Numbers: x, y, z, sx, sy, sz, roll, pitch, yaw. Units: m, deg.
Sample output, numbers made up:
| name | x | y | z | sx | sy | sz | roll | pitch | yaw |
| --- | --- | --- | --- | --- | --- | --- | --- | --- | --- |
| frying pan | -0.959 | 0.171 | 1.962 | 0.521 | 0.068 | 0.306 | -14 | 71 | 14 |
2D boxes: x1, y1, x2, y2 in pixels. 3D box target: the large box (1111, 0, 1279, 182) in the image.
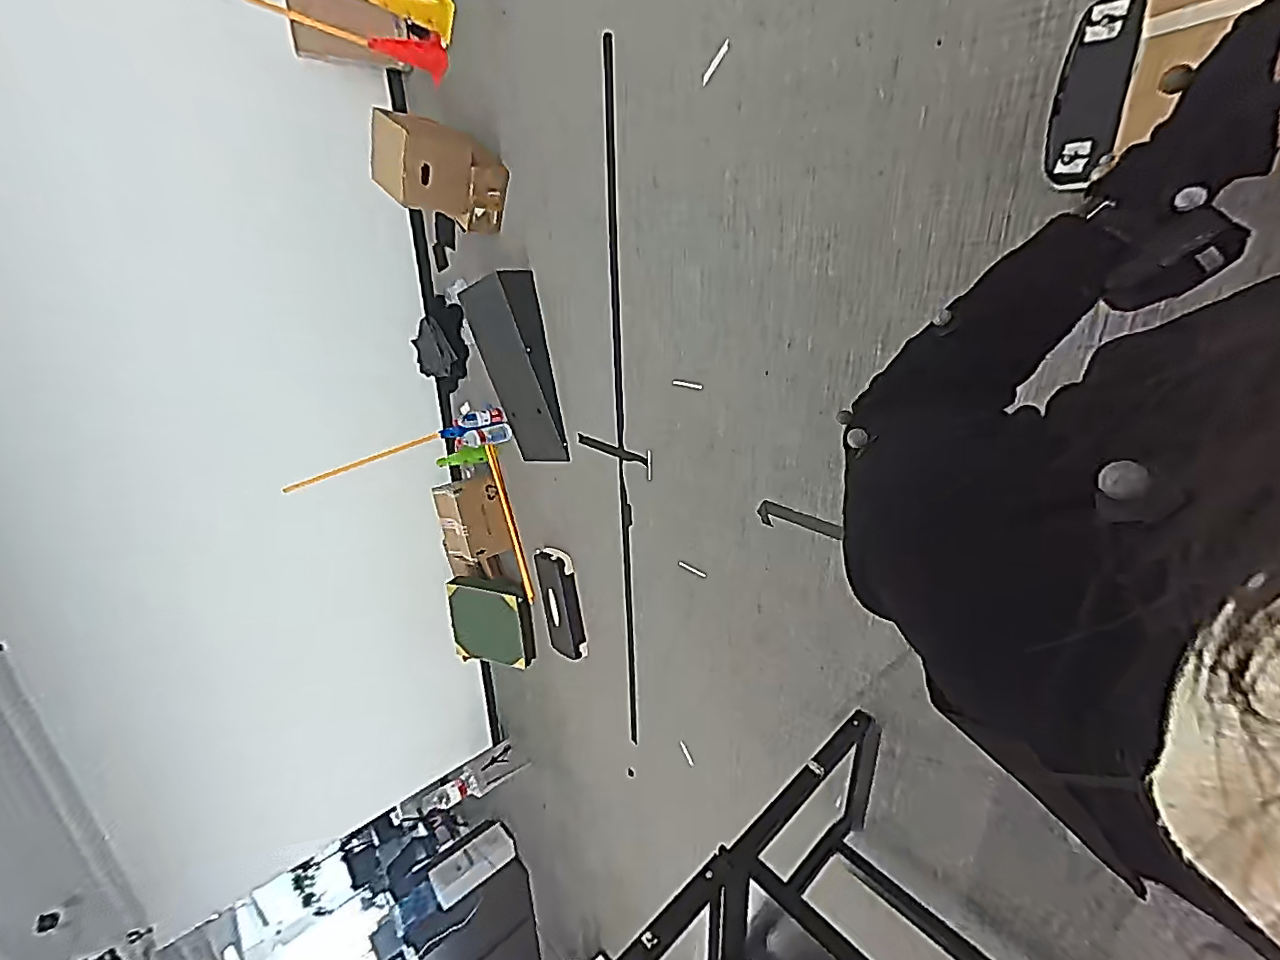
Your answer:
| name | x | y | z | sx | sy | sz | roll | pitch | yaw |
| --- | --- | --- | --- | --- | --- | --- | --- | --- | --- |
| large box | 0.876 | -0.555 | 0.627 | 0.408 | 0.320 | 0.320 | 21 | 120 | 46 |
